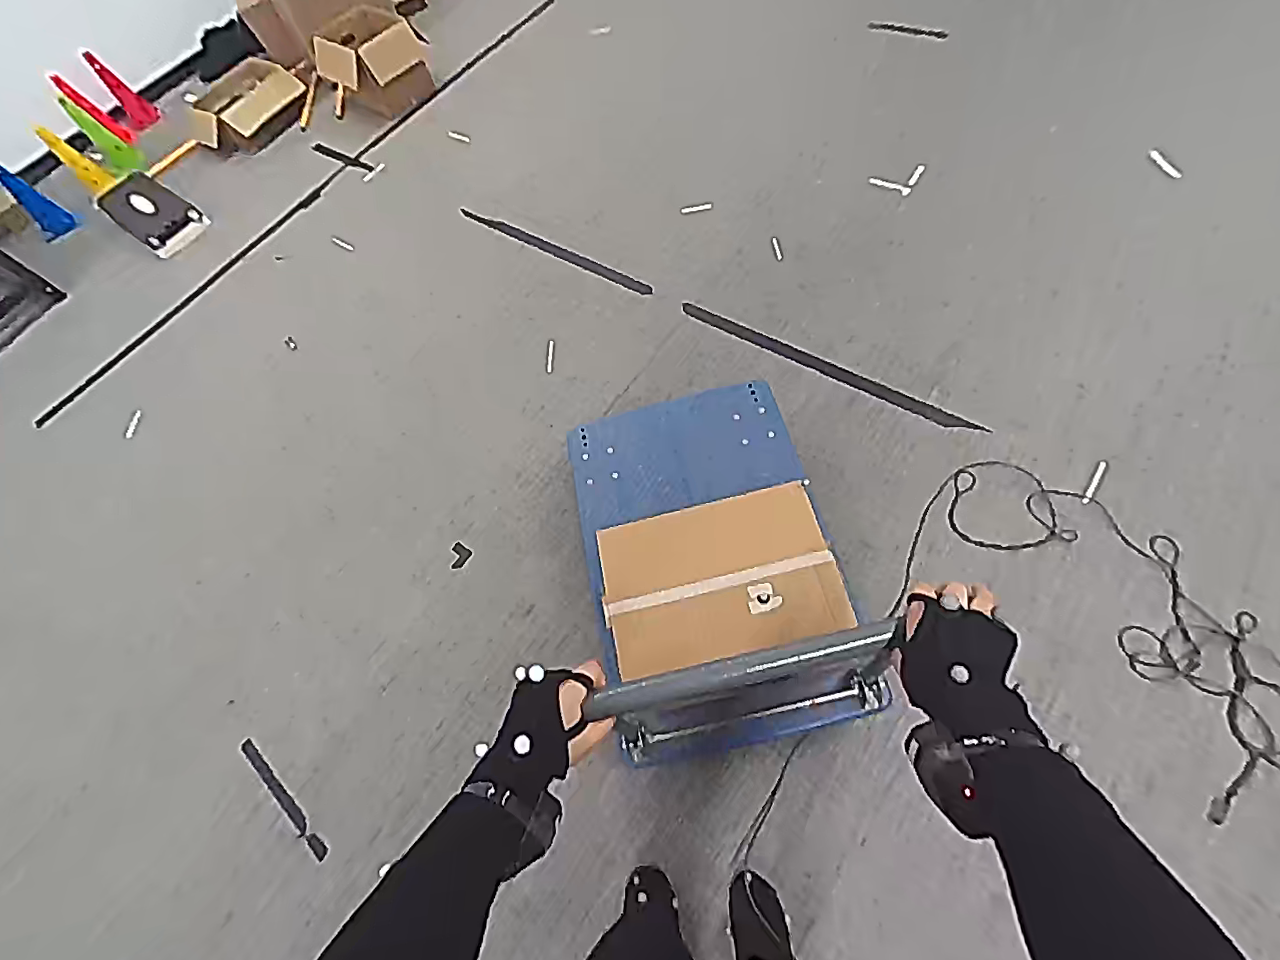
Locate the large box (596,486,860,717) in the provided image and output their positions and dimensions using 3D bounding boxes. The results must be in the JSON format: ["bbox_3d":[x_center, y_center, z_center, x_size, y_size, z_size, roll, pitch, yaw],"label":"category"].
[{"bbox_3d":[0.159,0.258,1.082,0.408,0.320,0.320,-14,62,2],"label":"large box"}]
